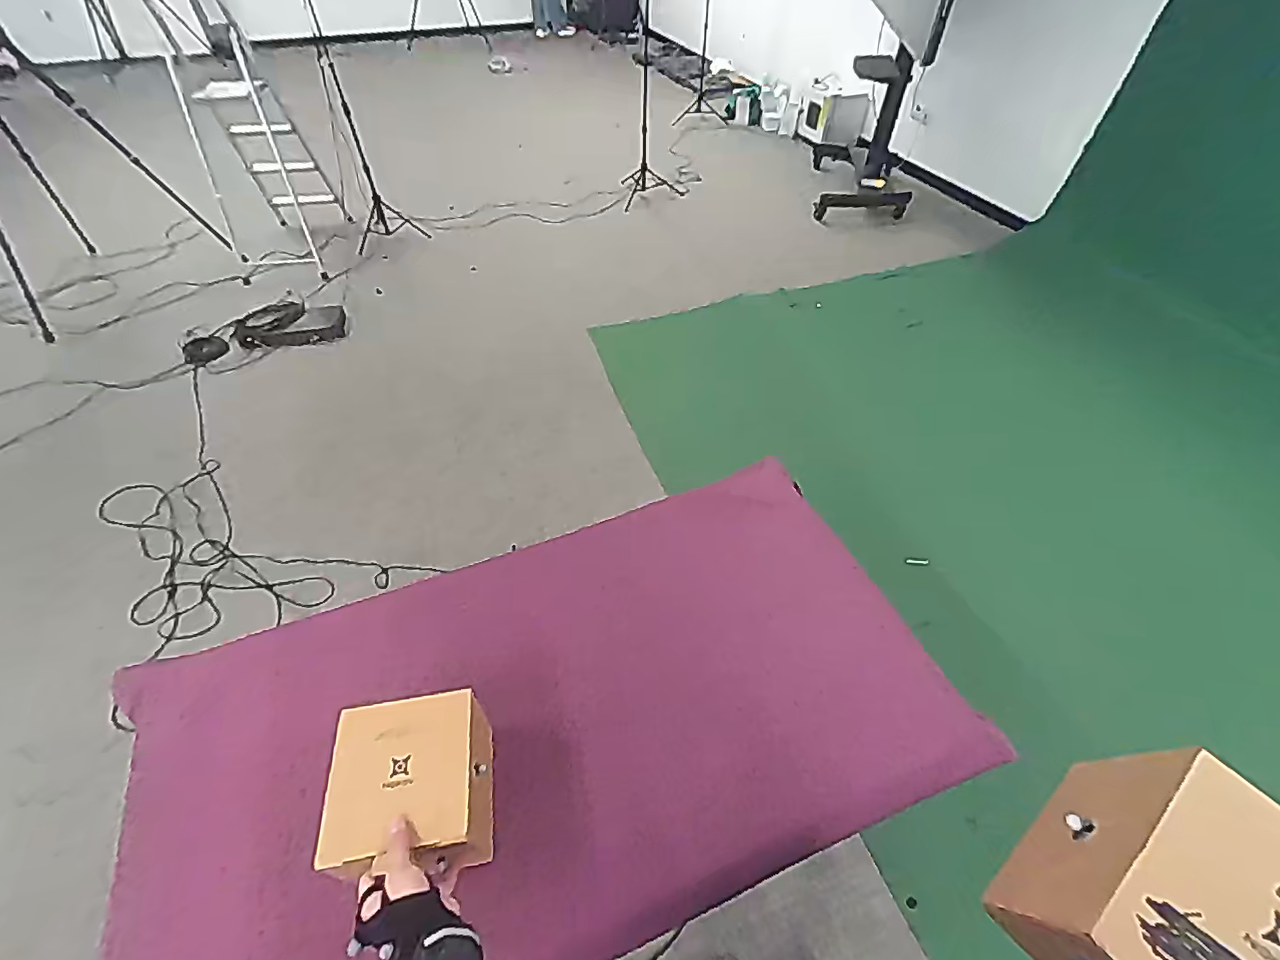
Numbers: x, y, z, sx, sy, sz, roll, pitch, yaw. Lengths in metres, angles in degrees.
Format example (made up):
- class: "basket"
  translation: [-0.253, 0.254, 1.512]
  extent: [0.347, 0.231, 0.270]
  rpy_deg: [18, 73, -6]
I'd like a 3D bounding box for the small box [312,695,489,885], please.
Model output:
- class: "small box"
  translation: [-0.295, 0.412, 0.713]
  extent: [0.168, 0.176, 0.179]
  rpy_deg: [-6, 48, -9]
